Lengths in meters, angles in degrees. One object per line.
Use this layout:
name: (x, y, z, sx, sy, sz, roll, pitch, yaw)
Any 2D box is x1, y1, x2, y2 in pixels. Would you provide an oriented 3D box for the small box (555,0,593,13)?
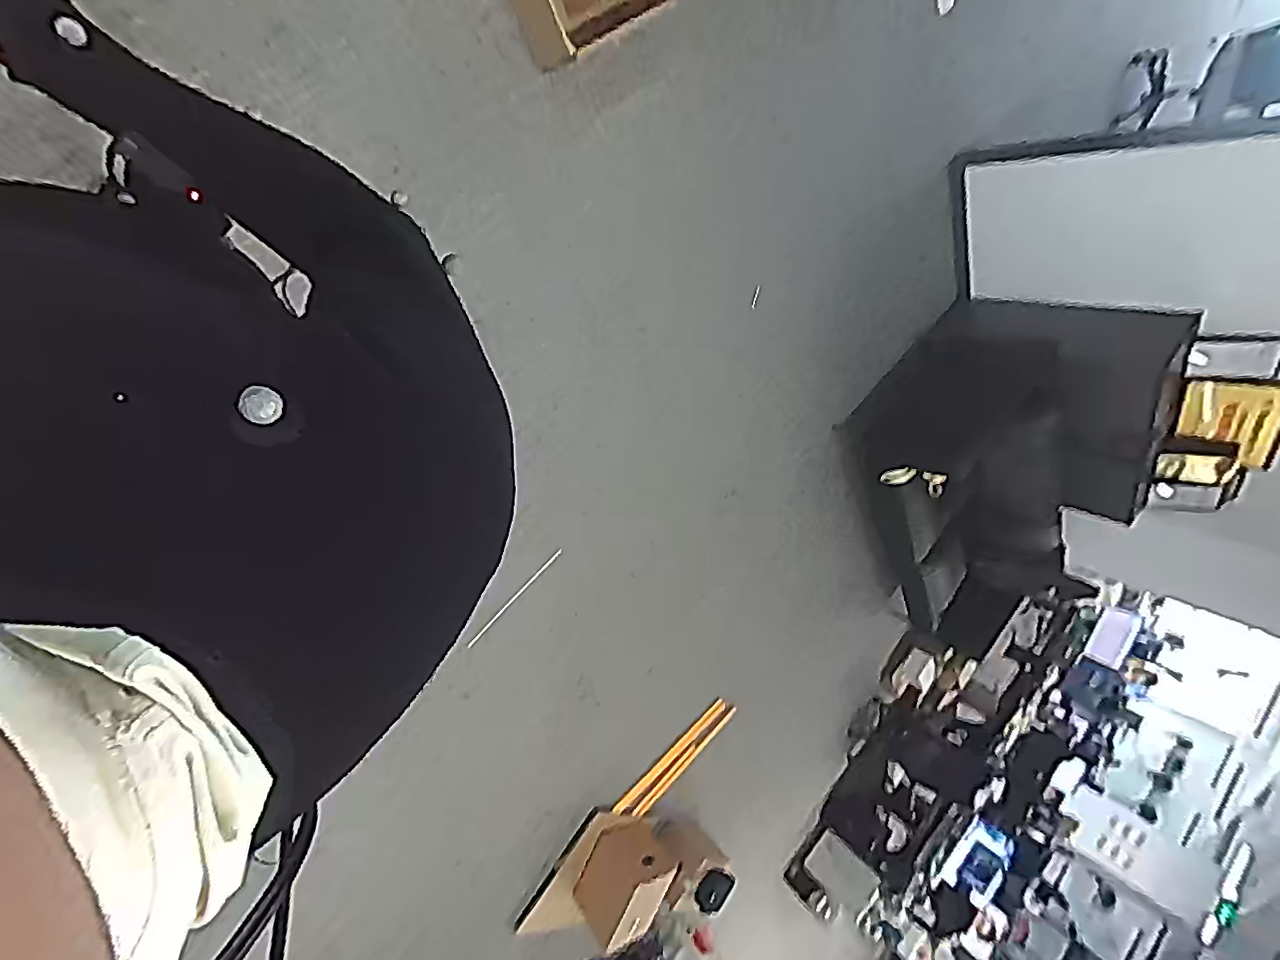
small box: (-0.131, -1.322, 1.353, 0.179, 0.176, 0.168, -43, 130, -17)
